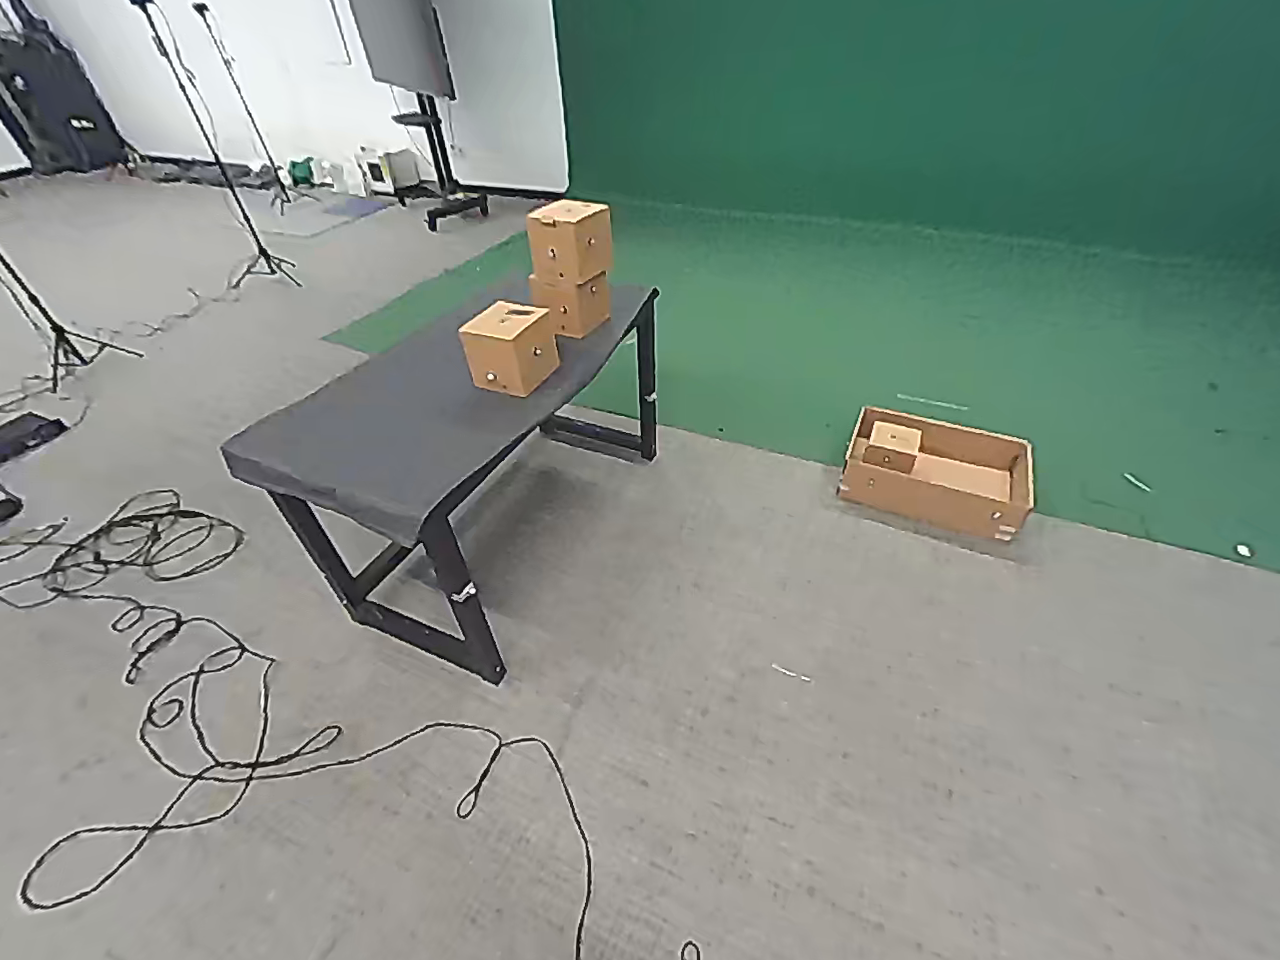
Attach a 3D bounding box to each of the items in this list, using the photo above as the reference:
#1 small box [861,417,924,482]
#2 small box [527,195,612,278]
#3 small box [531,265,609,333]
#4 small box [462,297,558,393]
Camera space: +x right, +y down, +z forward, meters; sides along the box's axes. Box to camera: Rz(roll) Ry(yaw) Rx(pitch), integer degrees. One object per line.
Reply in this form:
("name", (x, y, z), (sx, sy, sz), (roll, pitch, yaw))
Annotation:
("small box", (0.977, -0.116, 2.102), (0.179, 0.176, 0.168), (18, 47, 19))
("small box", (-0.190, -0.692, 1.539), (0.168, 0.176, 0.179), (21, 48, 24))
("small box", (-0.204, -0.567, 1.646), (0.168, 0.176, 0.179), (19, 45, 22))
("small box", (-0.329, -0.354, 1.413), (0.168, 0.176, 0.179), (15, 47, 21))
